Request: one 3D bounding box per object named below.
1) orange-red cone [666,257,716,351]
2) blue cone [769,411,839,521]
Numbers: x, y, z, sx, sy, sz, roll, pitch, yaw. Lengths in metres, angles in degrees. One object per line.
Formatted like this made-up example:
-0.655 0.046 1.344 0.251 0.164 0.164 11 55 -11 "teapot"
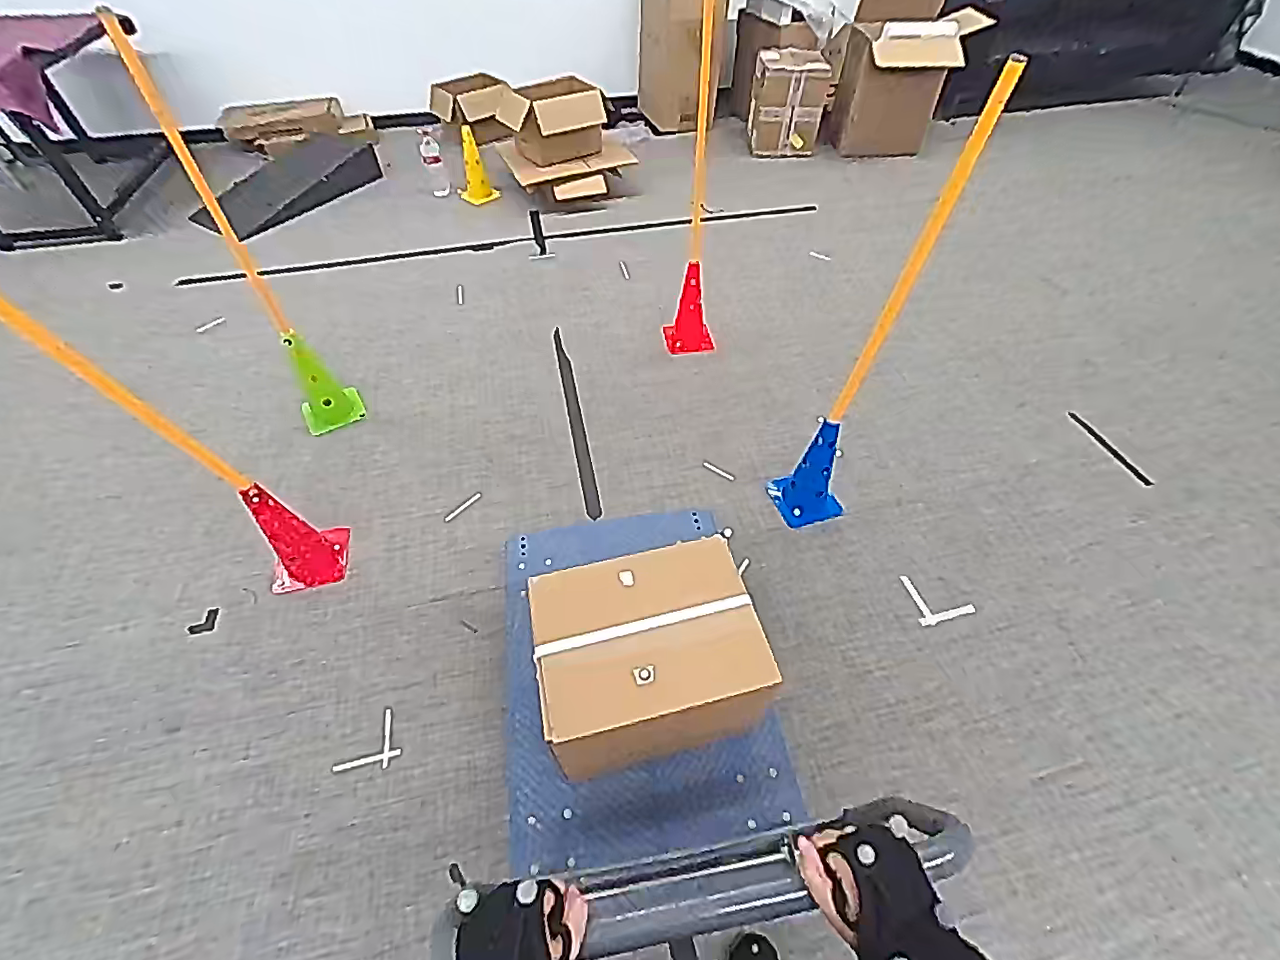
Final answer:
0.216 -0.725 2.182 0.199 0.360 0.198 -4 52 -5 "orange-red cone"
0.541 -0.056 1.656 0.193 0.380 0.192 -13 51 -11 "blue cone"
